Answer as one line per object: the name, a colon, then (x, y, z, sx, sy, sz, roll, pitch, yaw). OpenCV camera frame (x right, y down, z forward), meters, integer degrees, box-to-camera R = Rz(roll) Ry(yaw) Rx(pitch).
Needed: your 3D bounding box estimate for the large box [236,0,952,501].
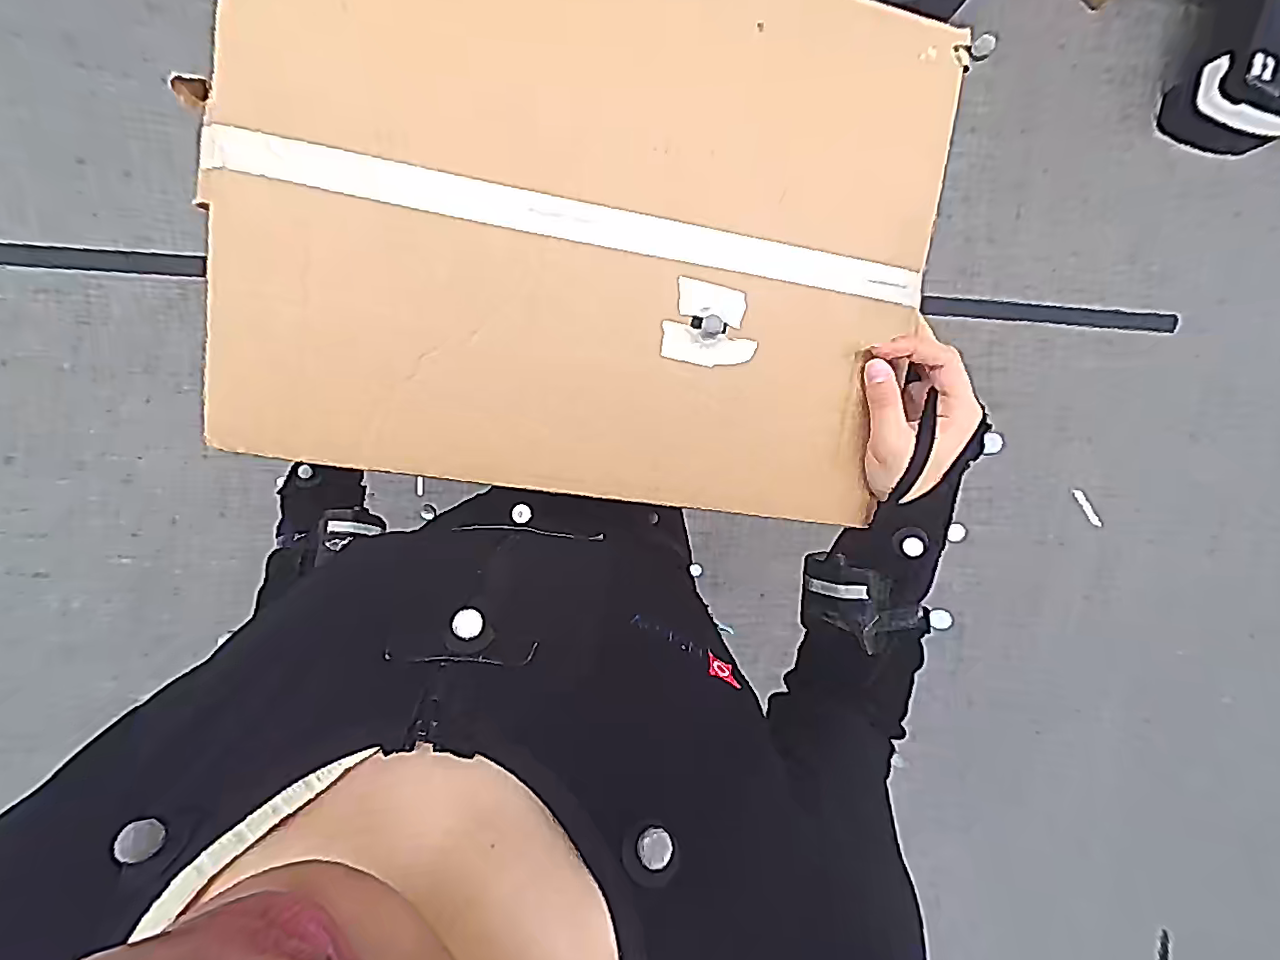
large box: (-0.042, -0.176, 0.465, 0.408, 0.320, 0.320, 7, 98, -12)
